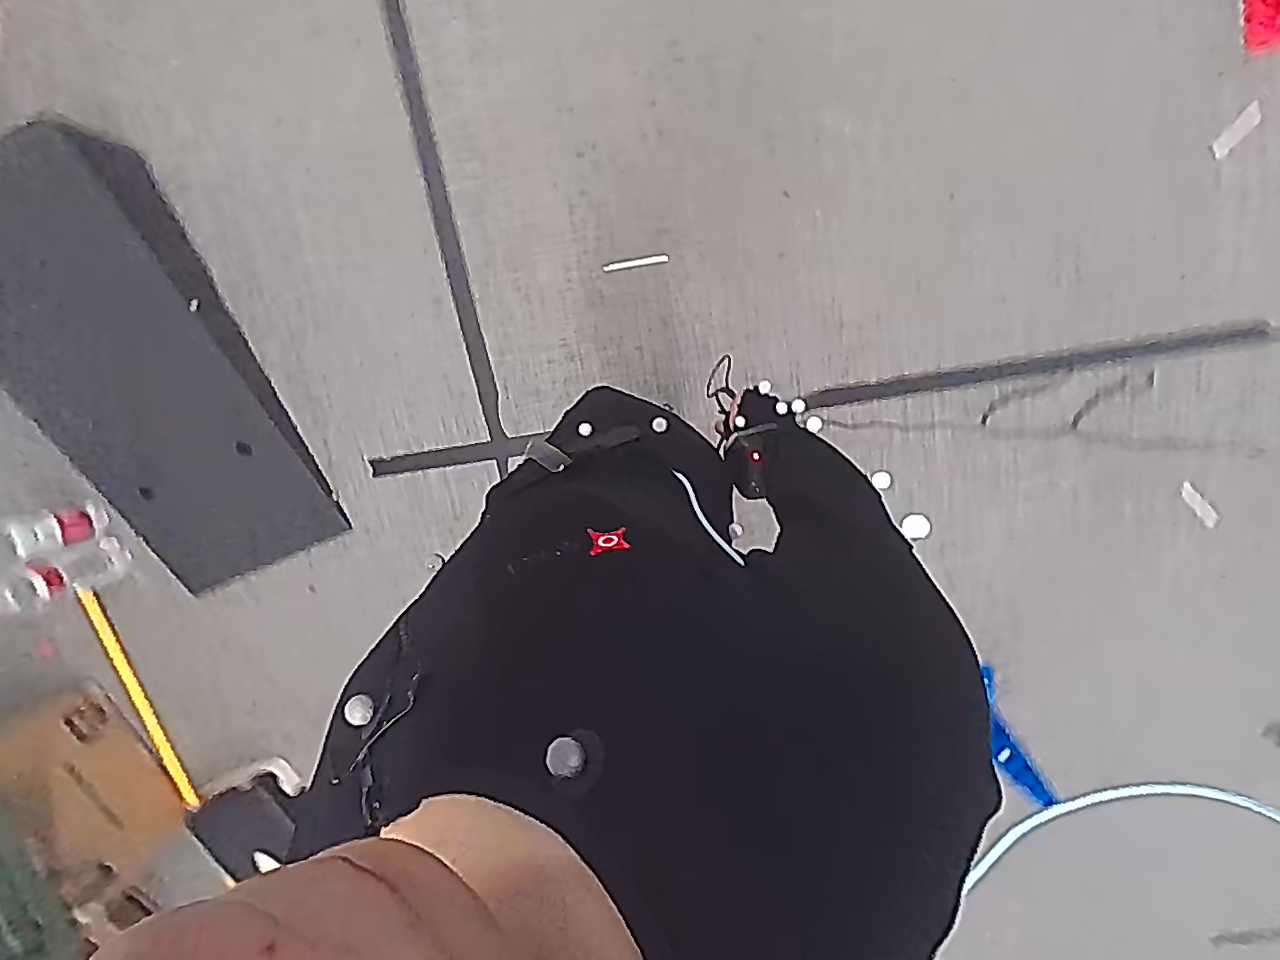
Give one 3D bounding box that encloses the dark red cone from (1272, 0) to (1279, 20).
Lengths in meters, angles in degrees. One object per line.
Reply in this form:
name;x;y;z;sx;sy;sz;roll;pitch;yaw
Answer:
dark red cone;1.358;-1.006;0.917;0.202;0.394;0.201;-17;103;5
